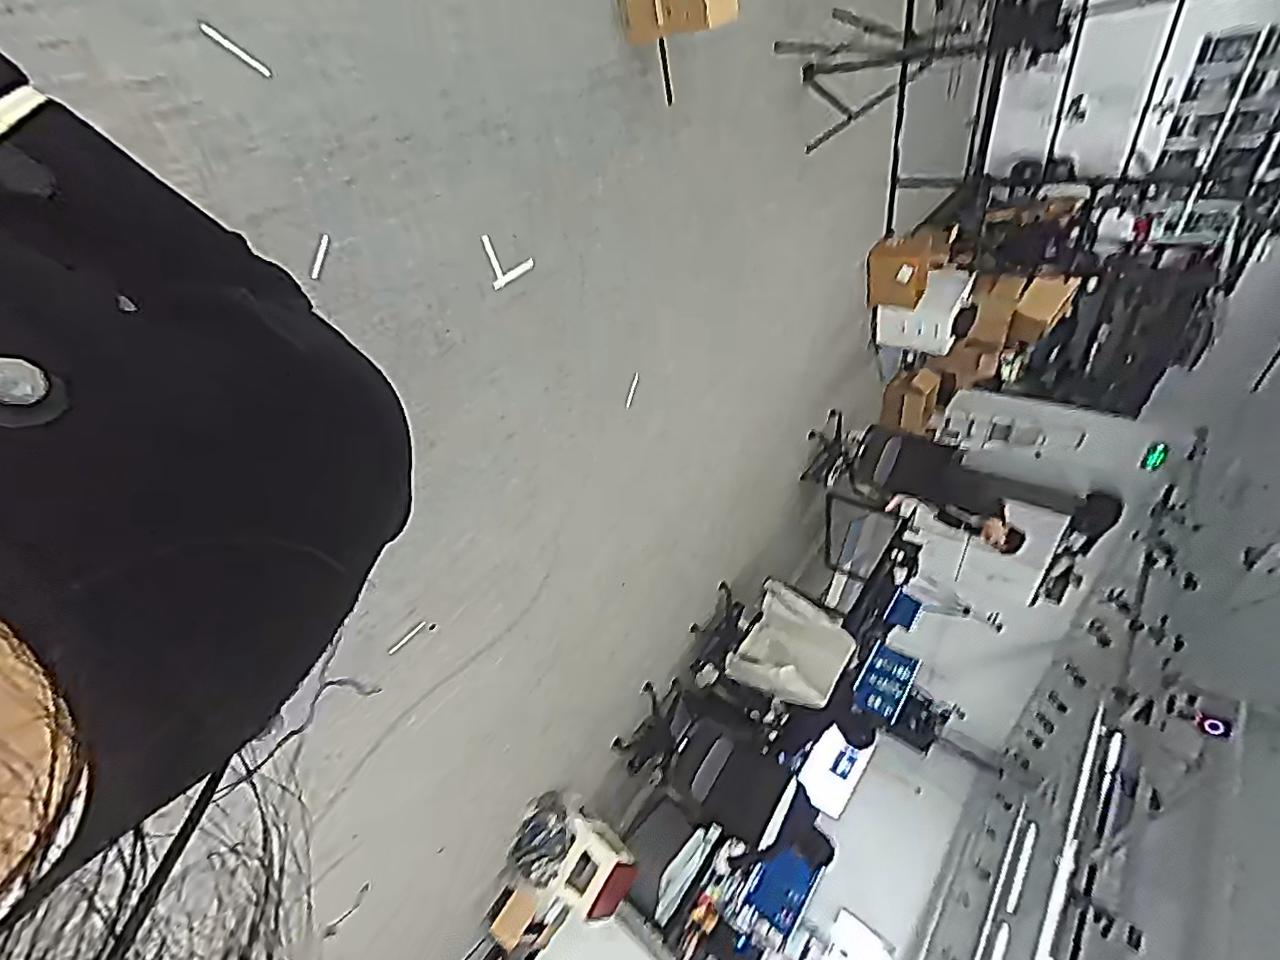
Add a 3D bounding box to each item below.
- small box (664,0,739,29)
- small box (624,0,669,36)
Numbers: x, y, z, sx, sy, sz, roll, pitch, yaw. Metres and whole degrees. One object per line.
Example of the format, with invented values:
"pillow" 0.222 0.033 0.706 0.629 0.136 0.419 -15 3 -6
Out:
"small box" 0.181 -1.514 1.653 0.179 0.176 0.168 -47 141 -28
"small box" 0.057 -1.565 1.744 0.179 0.176 0.168 -47 140 -28
